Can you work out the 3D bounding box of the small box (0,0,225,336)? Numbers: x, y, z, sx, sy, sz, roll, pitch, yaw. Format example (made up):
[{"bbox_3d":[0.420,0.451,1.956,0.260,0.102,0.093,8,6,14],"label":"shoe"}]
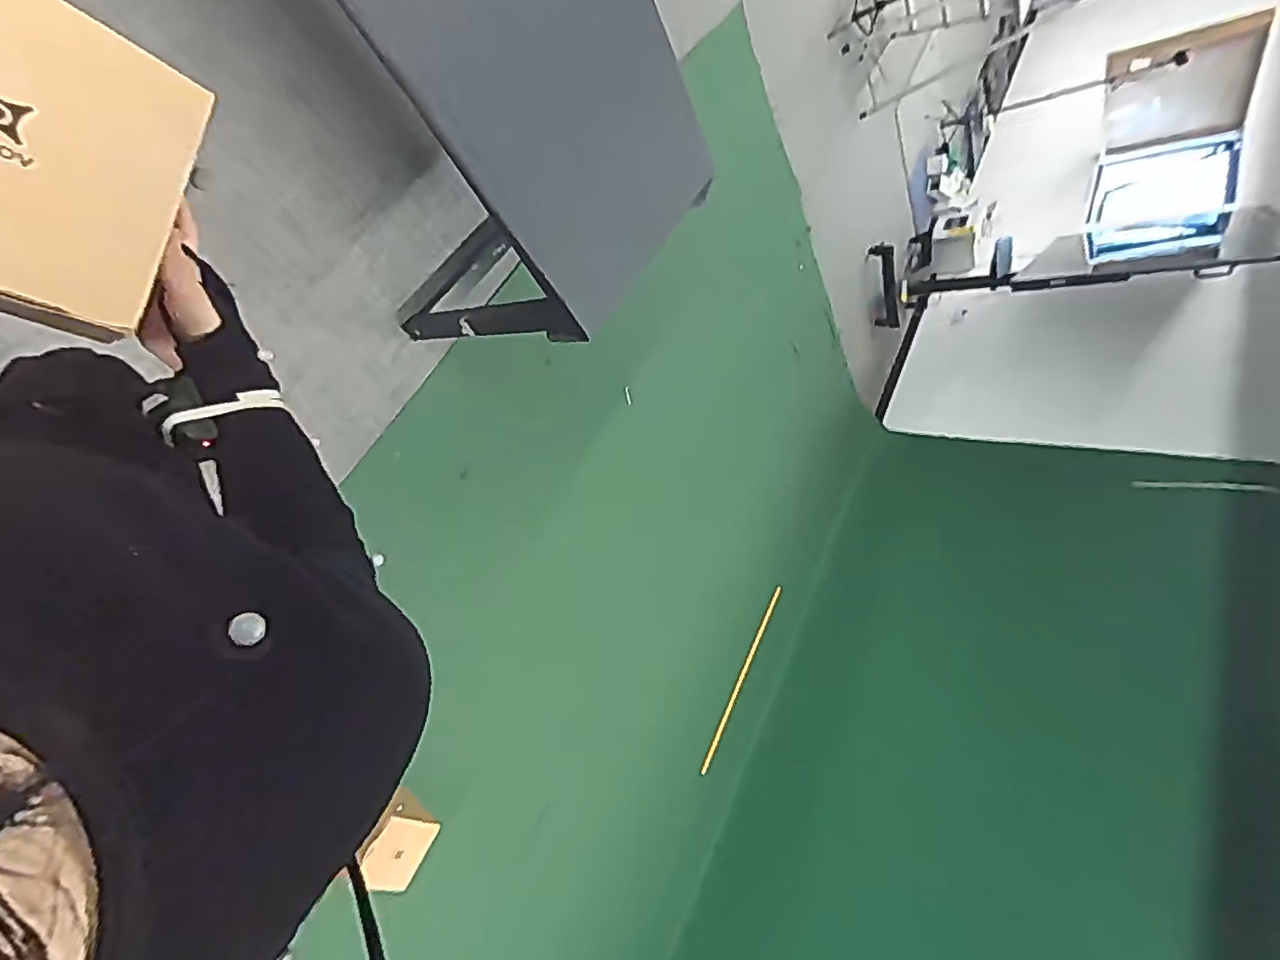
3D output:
[{"bbox_3d":[-0.411,-0.208,0.343,0.168,0.176,0.179,23,79,-51],"label":"small box"}]

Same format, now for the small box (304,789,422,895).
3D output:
[{"bbox_3d":[-0.711,0.926,1.389,0.179,0.176,0.168,52,59,-44],"label":"small box"}]
